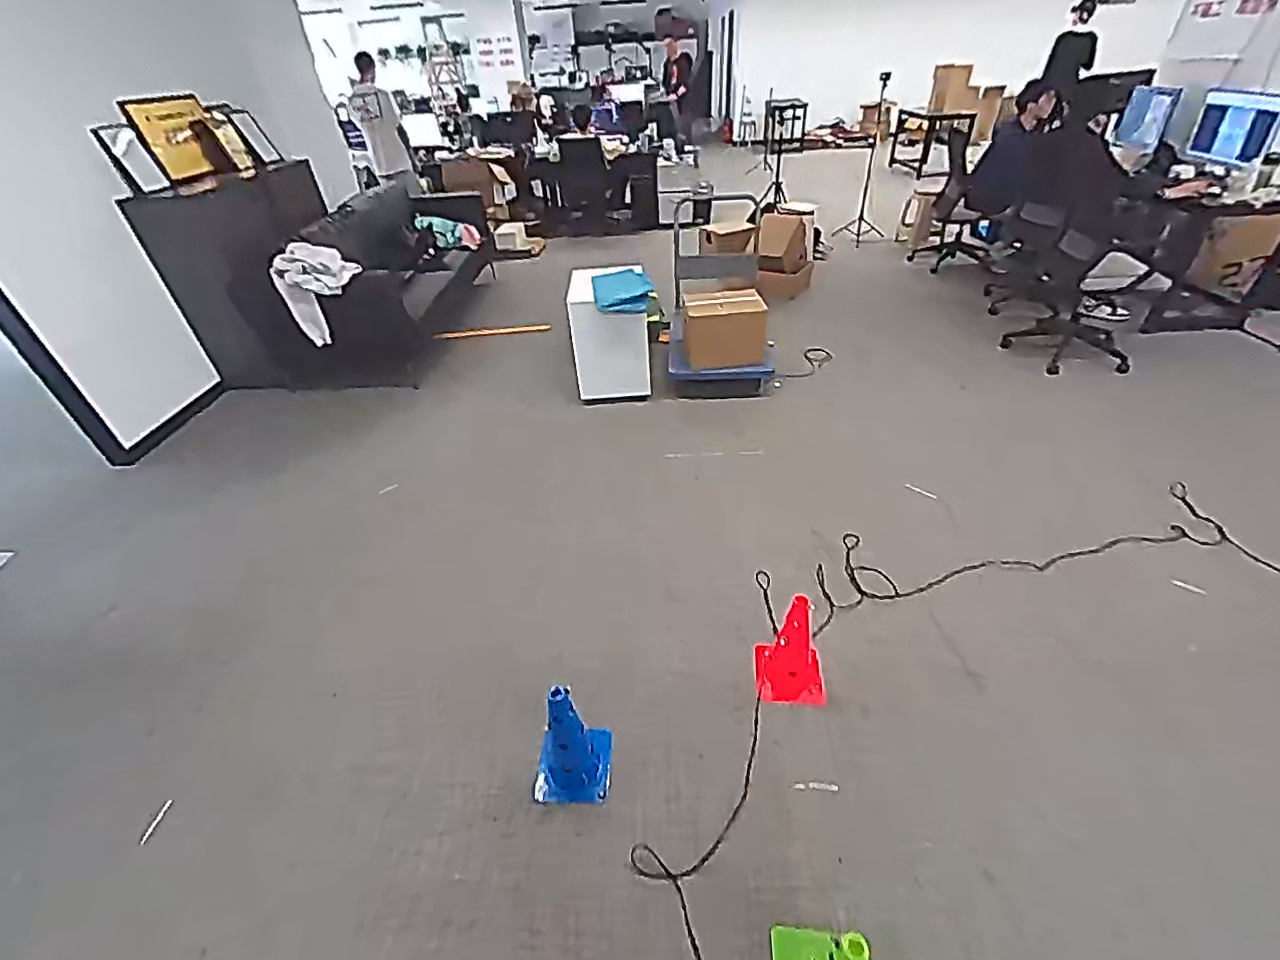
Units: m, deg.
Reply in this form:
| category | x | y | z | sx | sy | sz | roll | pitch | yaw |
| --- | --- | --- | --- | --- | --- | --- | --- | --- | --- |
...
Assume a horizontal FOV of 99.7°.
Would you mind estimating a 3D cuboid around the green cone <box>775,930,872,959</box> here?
| category | x | y | z | sx | sy | sz | roll | pitch | yaw |
| --- | --- | --- | --- | --- | --- | --- | --- | --- | --- |
| green cone | 0.374 | 0.912 | 0.991 | 0.200 | 0.368 | 0.202 | 1 | 37 | 6 |

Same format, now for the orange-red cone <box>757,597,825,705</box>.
| category | x | y | z | sx | sy | sz | roll | pitch | yaw |
| --- | --- | --- | --- | --- | --- | --- | --- | --- | --- |
| orange-red cone | 0.451 | 0.469 | 1.568 | 0.198 | 0.360 | 0.199 | 1 | 39 | 9 |
